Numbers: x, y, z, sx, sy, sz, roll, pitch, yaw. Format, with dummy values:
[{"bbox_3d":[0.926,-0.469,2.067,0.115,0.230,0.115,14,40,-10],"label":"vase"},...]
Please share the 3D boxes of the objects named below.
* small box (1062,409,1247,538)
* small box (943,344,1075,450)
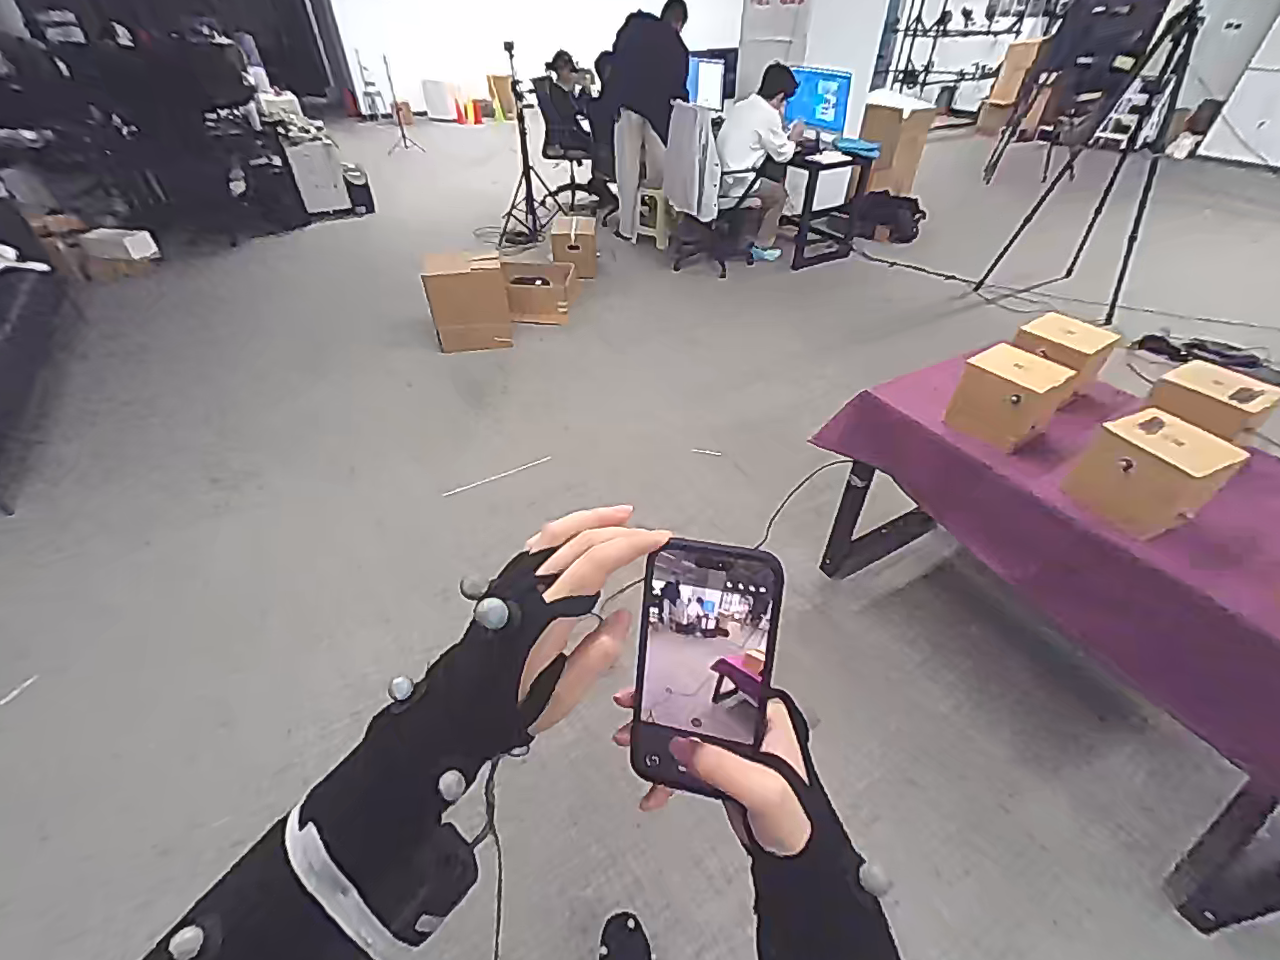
[{"bbox_3d":[1.010,-0.014,1.082,0.168,0.176,0.179,-16,44,-17],"label":"small box"},{"bbox_3d":[0.870,-0.198,1.294,0.168,0.176,0.179,-24,48,-26],"label":"small box"}]
